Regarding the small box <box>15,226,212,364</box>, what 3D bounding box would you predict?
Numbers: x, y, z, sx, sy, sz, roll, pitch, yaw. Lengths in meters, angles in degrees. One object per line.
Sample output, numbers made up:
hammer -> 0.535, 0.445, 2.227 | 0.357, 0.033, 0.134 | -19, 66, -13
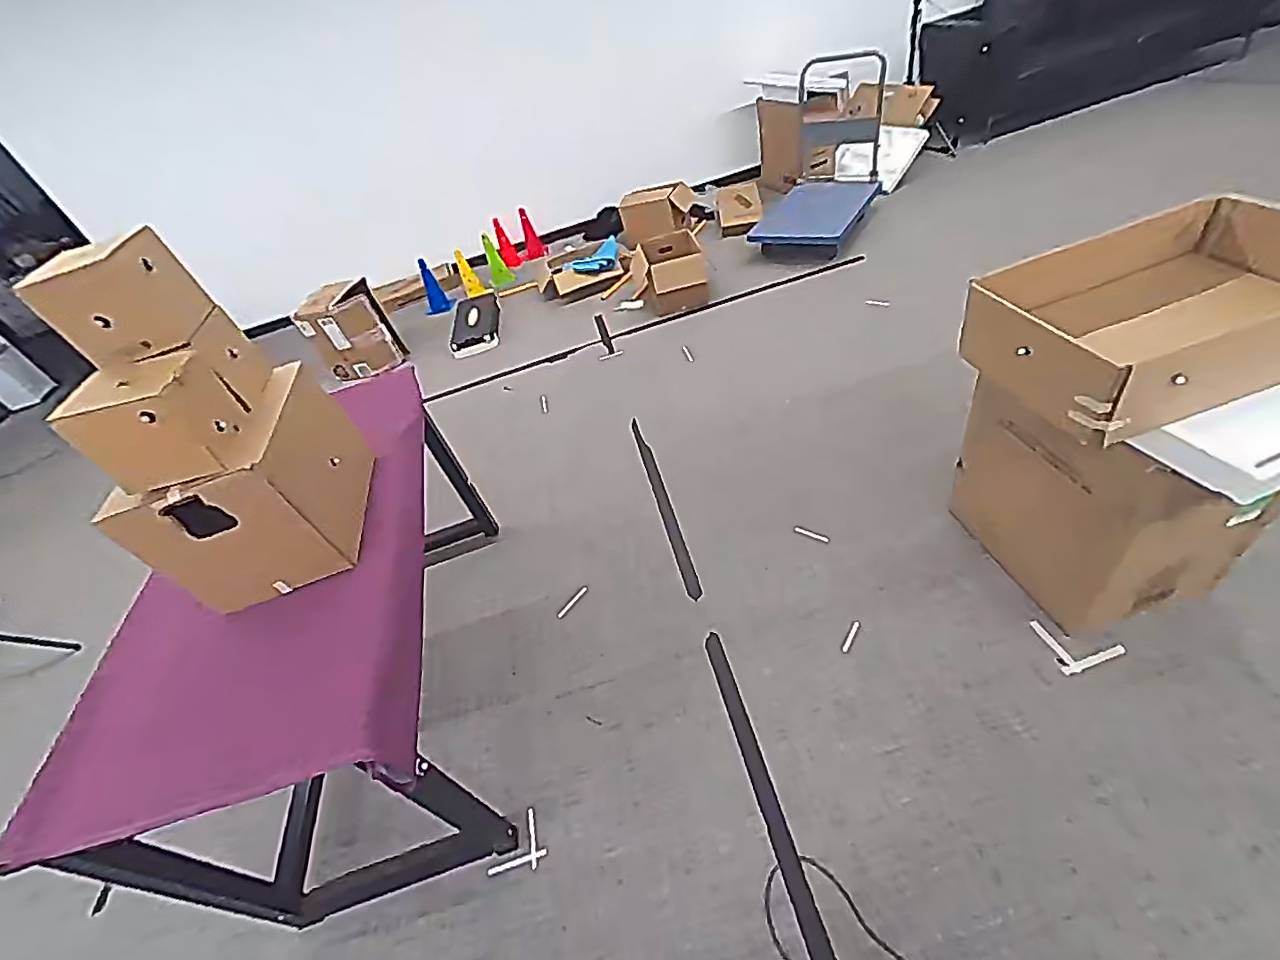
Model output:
small box -> -0.950, -0.336, 1.002 | 0.168, 0.176, 0.179 | -19, 44, -1
